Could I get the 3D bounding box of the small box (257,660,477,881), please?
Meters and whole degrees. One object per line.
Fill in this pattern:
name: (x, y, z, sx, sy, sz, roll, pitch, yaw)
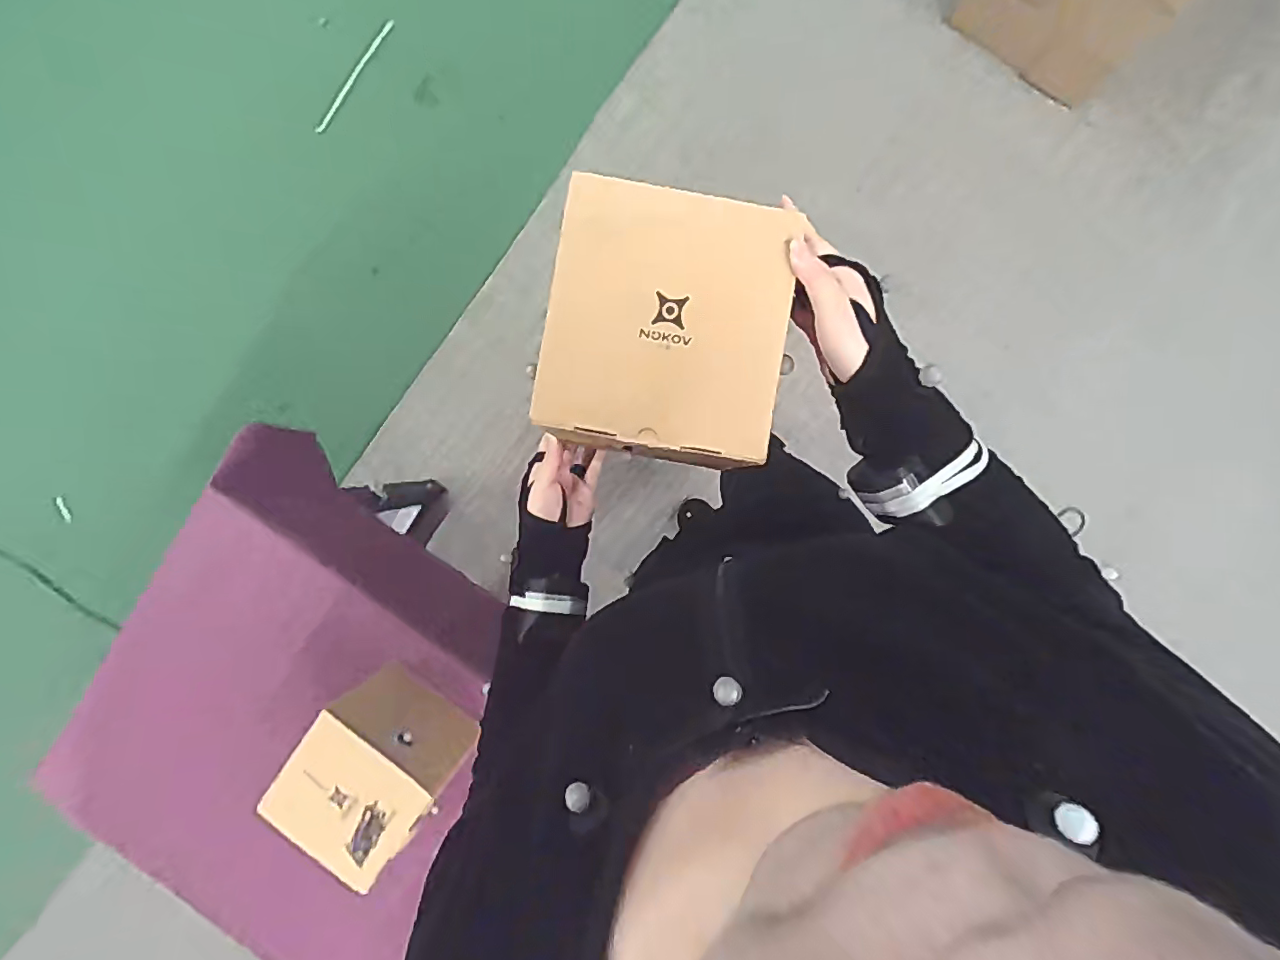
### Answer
small box: (-0.360, 0.383, 0.748, 0.179, 0.176, 0.168, 36, 96, 3)
